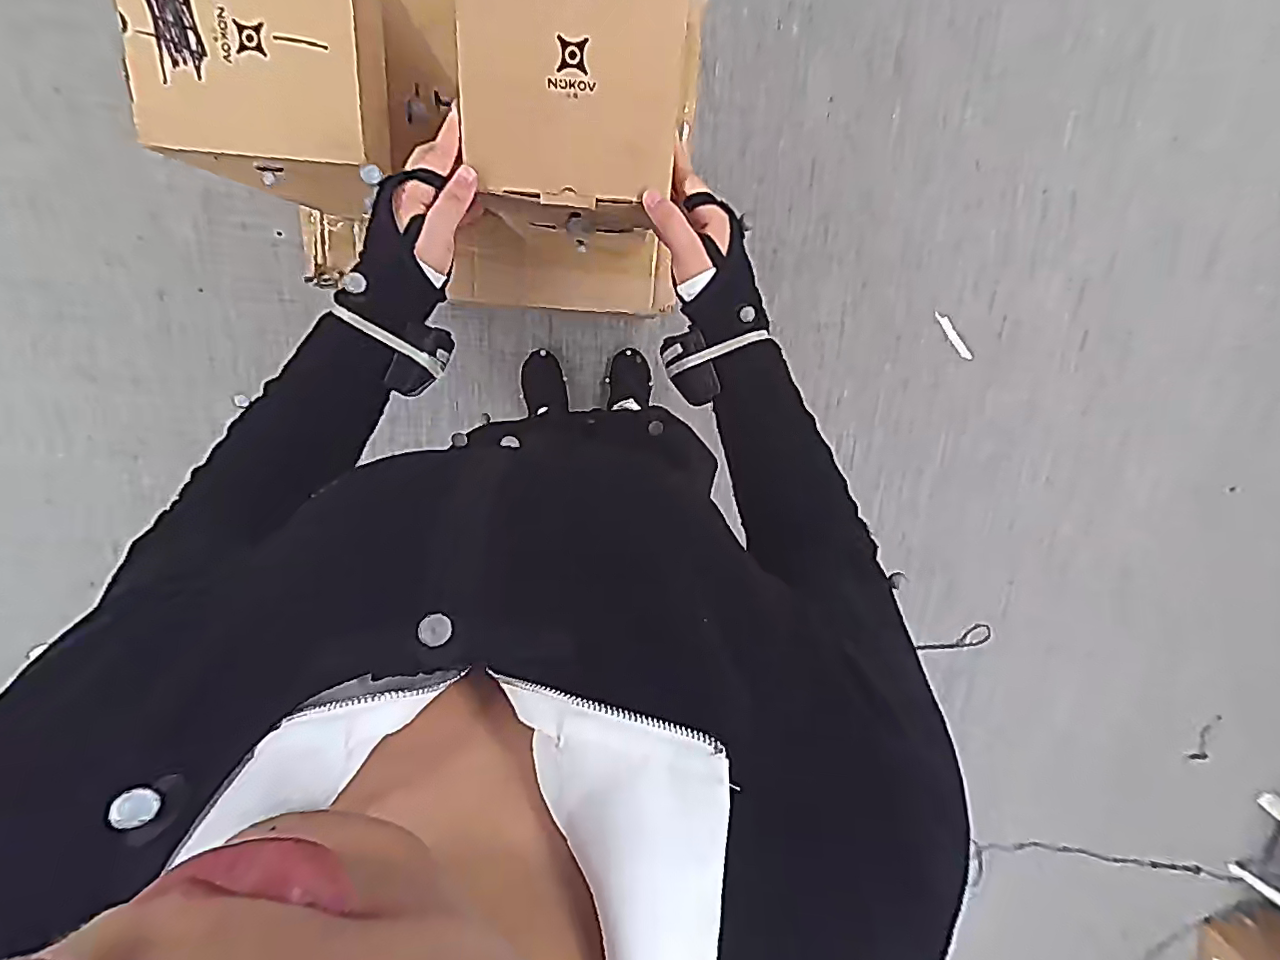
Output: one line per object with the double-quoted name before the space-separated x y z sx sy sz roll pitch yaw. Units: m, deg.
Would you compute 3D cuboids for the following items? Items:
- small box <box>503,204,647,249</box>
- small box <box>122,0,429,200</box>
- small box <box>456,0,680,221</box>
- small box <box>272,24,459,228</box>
"small box" -0.070 -0.395 0.667 0.168 0.176 0.179 3 107 -2
"small box" -0.310 -0.366 0.492 0.179 0.176 0.168 2 107 -5
"small box" -0.057 -0.337 0.484 0.168 0.176 0.179 2 110 -4
"small box" -0.322 -0.416 0.649 0.168 0.176 0.179 3 108 -4
